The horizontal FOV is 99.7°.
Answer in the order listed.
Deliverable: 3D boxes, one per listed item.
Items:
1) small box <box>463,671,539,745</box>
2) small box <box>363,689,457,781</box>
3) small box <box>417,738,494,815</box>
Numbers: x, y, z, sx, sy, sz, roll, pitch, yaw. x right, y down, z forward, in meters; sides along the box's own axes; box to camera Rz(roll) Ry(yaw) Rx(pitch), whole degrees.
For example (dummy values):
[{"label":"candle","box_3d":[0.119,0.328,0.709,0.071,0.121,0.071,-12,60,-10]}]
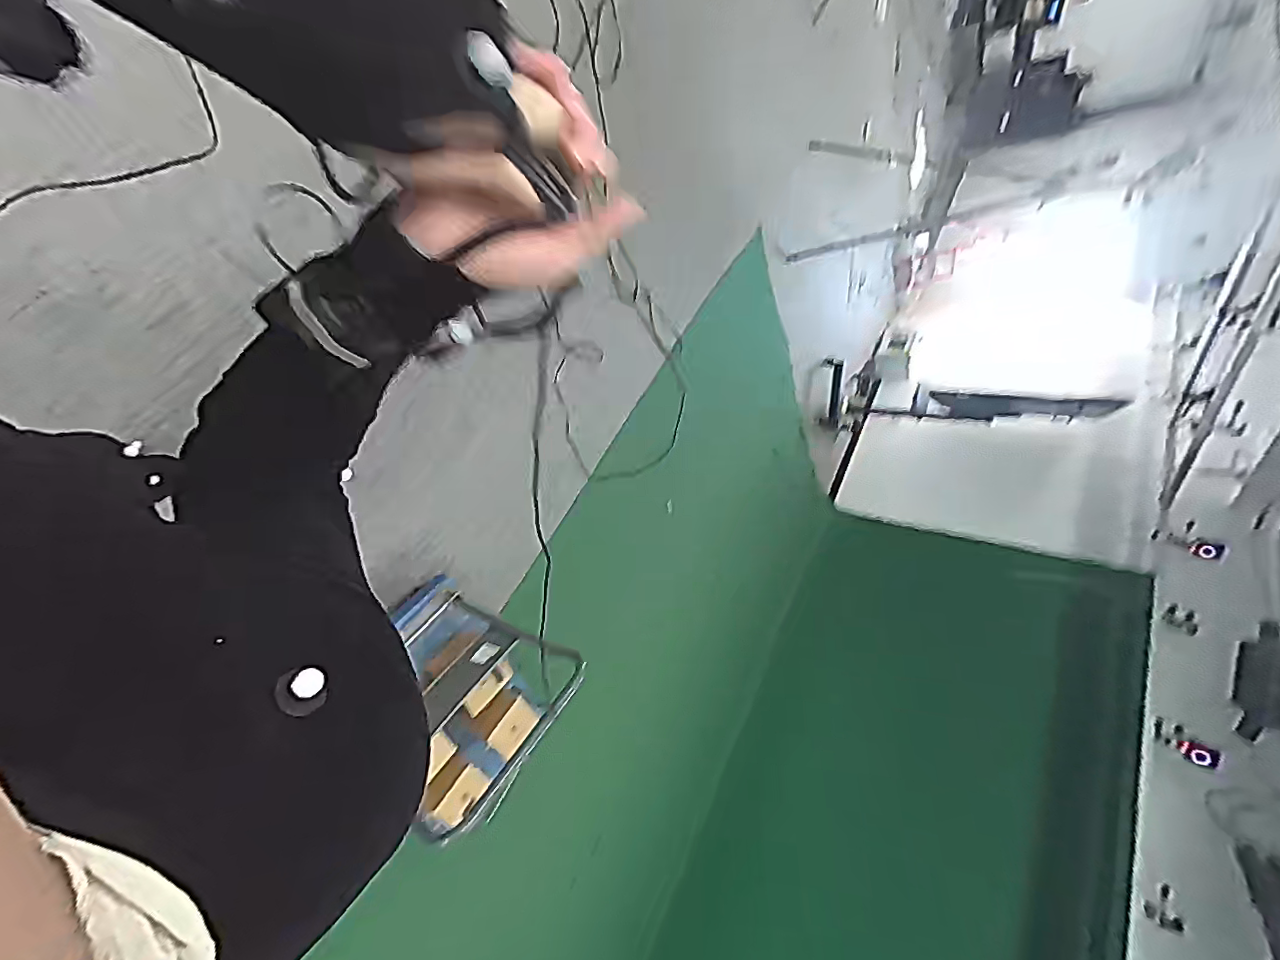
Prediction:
[{"label":"small box","box_3d":[-0.507,0.821,1.967,0.168,0.176,0.179,-51,137,-31]},{"label":"small box","box_3d":[-0.713,0.783,1.678,0.168,0.176,0.179,-47,134,-34]},{"label":"small box","box_3d":[-0.640,0.990,1.837,0.168,0.176,0.179,-52,136,-32]}]
